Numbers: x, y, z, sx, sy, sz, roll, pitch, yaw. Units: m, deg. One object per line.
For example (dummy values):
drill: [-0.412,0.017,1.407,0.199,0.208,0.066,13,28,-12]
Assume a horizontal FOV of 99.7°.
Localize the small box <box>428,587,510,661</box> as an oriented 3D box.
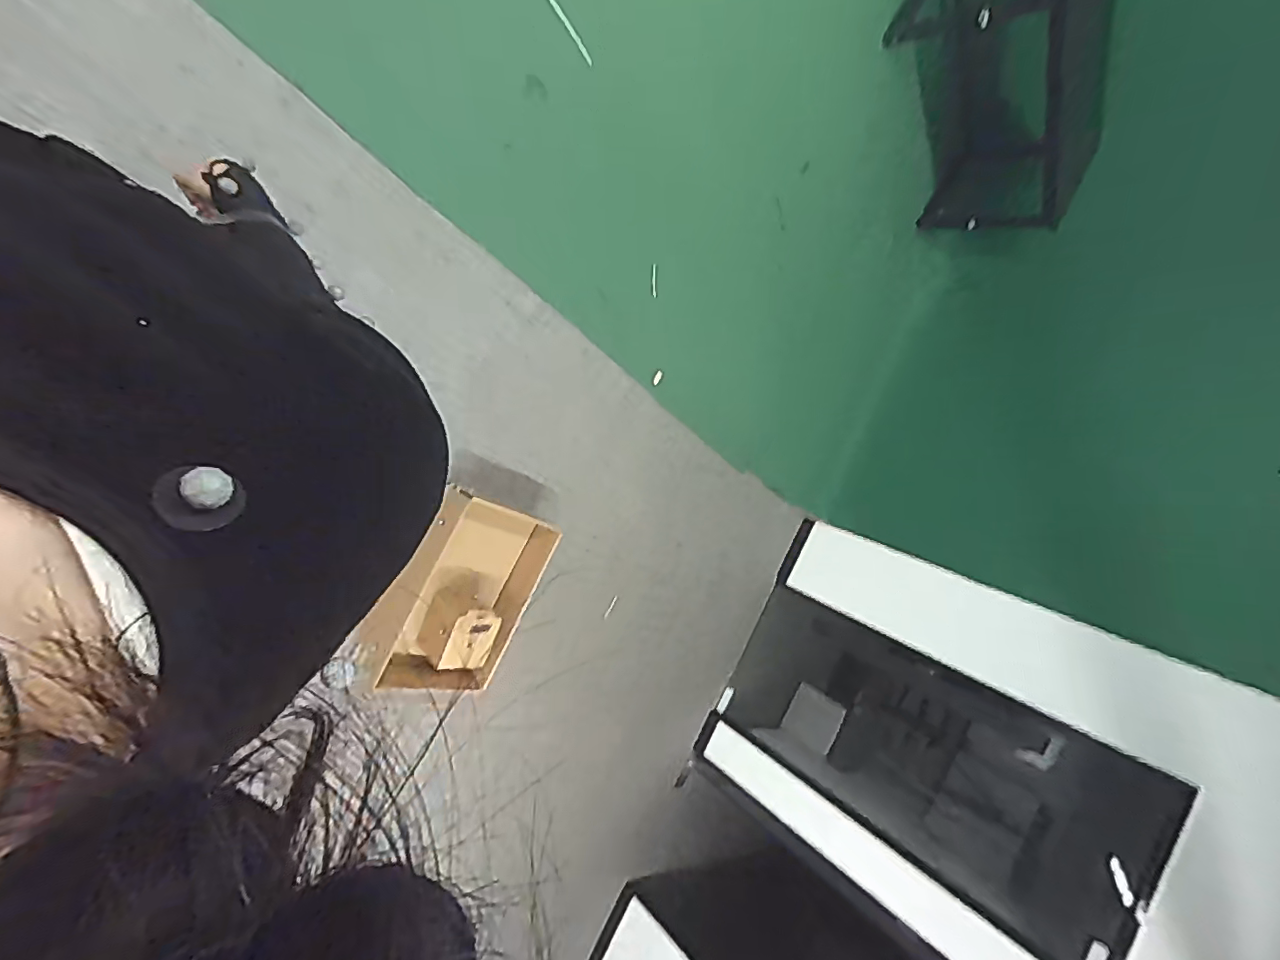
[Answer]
small box: [-0.556,0.462,1.746,0.168,0.176,0.179,19,94,-47]
